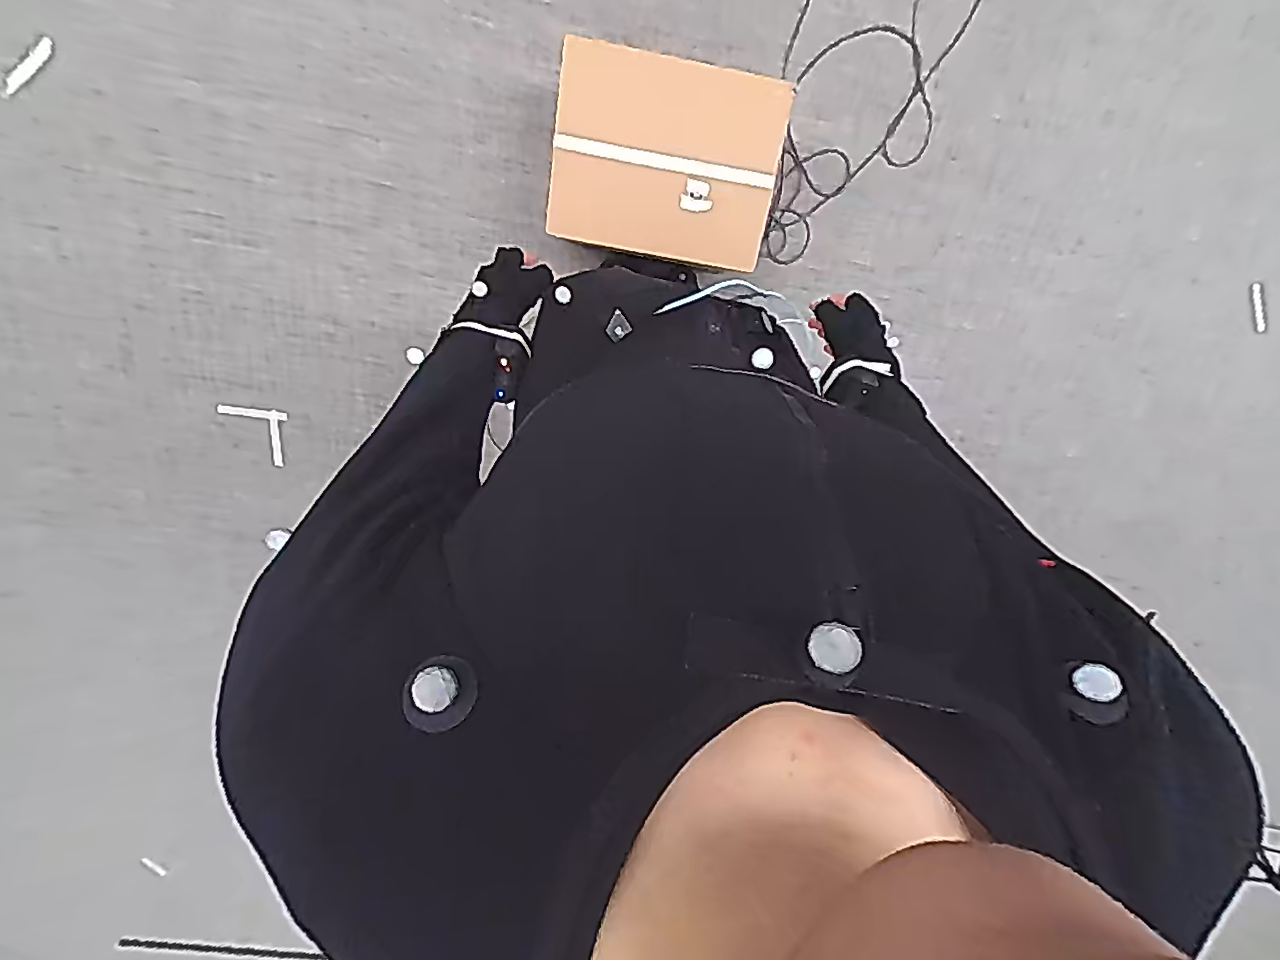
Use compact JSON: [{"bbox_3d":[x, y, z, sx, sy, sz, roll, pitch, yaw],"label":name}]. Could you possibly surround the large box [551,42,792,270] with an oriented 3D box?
[{"bbox_3d":[0.043,-0.630,1.121,0.408,0.320,0.320,9,112,-5],"label":"large box"}]
